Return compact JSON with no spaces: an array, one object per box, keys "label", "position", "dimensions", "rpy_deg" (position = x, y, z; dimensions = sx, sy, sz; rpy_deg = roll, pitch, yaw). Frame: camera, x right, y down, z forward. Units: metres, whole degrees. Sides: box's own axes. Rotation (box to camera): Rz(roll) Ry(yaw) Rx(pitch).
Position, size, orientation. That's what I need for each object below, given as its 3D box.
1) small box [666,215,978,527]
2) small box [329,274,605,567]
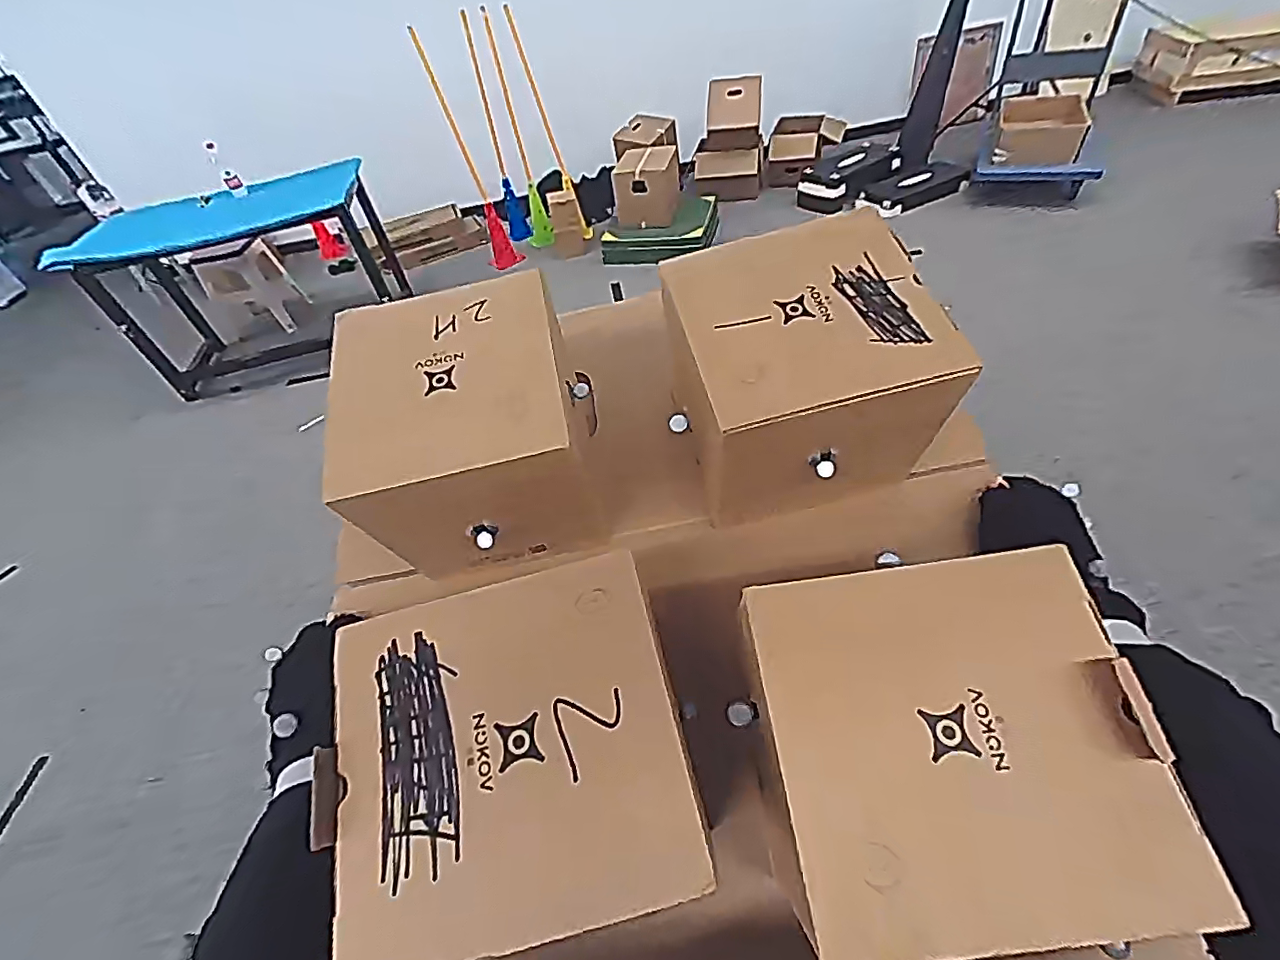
[{"label":"small box","position":[0.126,-0.079,0.451],"dimensions":[0.179,0.176,0.168],"rpy_deg":[-14,62,1]},{"label":"small box","position":[-0.131,-0.036,0.461],"dimensions":[0.168,0.176,0.179],"rpy_deg":[-12,61,0]}]
